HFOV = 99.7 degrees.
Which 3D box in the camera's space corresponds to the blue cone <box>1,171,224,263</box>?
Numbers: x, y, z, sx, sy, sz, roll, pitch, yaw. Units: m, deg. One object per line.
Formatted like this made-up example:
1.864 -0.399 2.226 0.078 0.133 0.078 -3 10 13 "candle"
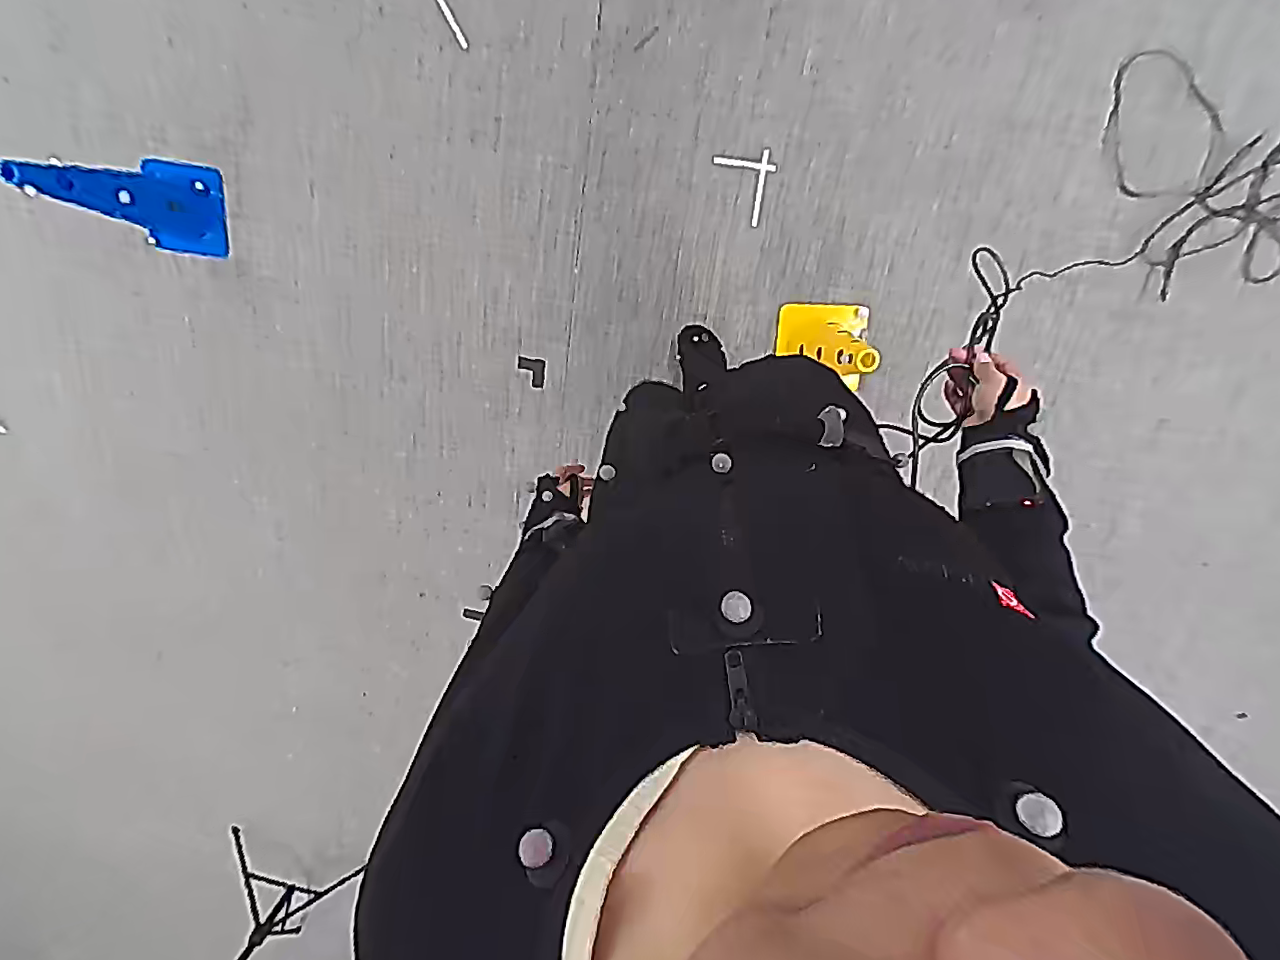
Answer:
-1.108 -0.579 1.136 0.193 0.380 0.192 10 108 2 "blue cone"
